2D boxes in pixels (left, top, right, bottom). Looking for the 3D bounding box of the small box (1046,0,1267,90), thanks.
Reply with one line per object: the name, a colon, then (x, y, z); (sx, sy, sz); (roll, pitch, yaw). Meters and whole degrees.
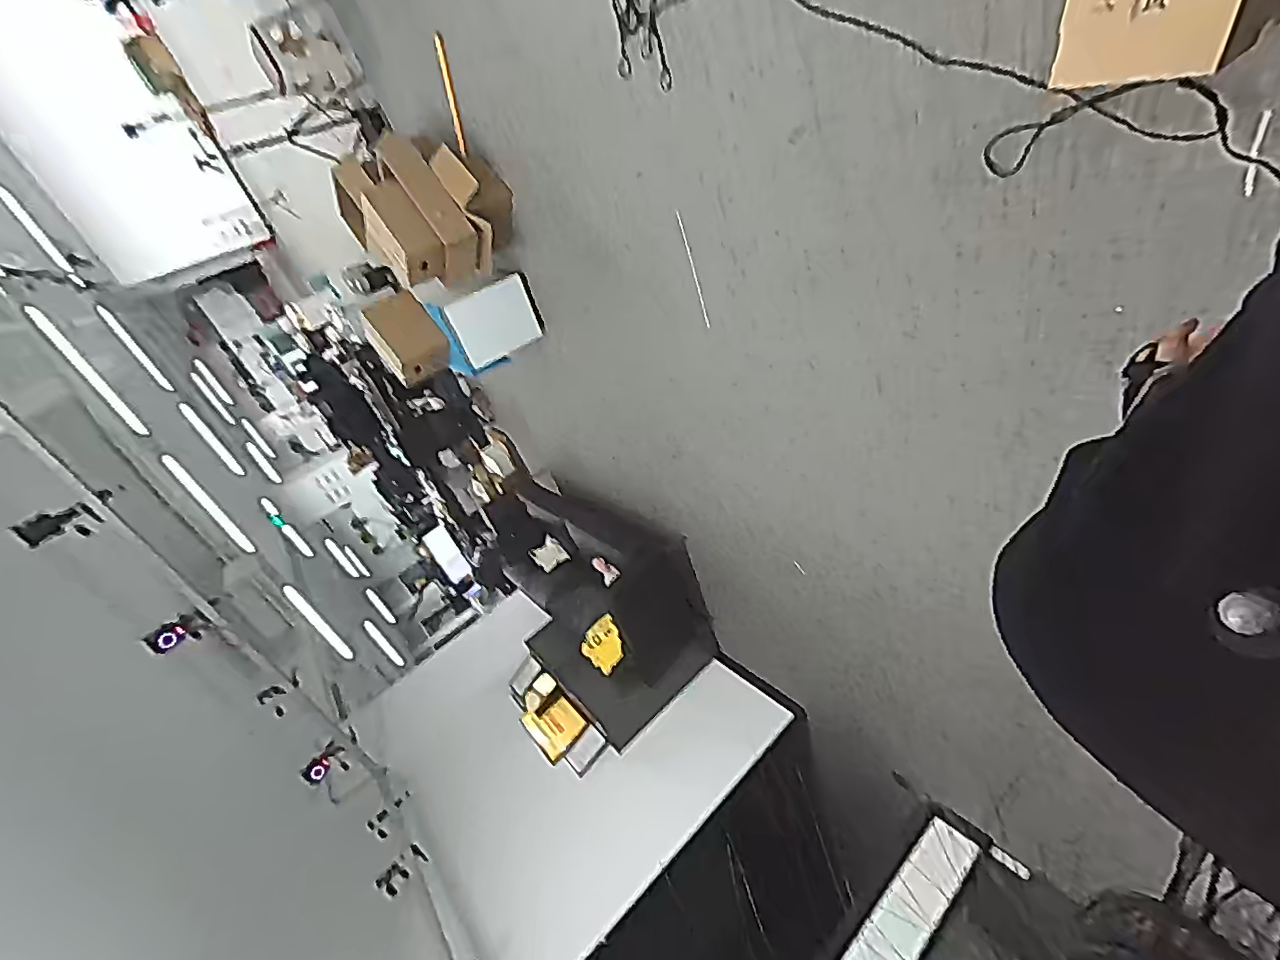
small box: (0.662, -0.611, 0.674); (0.179, 0.176, 0.168); (32, 147, 42)
